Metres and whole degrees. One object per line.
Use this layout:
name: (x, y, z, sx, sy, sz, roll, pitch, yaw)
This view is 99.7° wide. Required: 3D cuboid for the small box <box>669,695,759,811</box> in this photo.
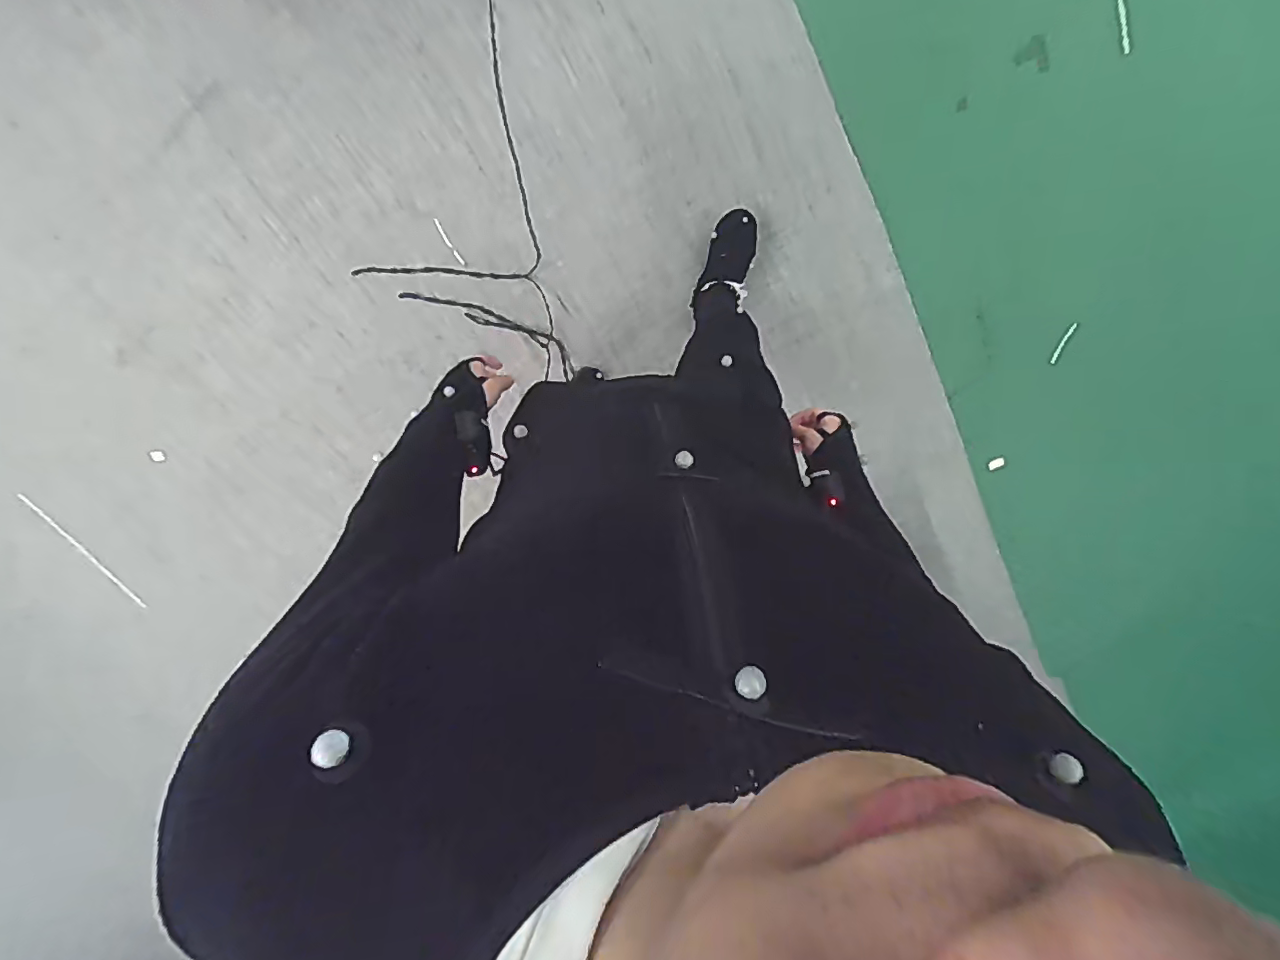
small box: (0.183, 0.685, 1.368, 0.168, 0.176, 0.179, -24, 108, 9)
